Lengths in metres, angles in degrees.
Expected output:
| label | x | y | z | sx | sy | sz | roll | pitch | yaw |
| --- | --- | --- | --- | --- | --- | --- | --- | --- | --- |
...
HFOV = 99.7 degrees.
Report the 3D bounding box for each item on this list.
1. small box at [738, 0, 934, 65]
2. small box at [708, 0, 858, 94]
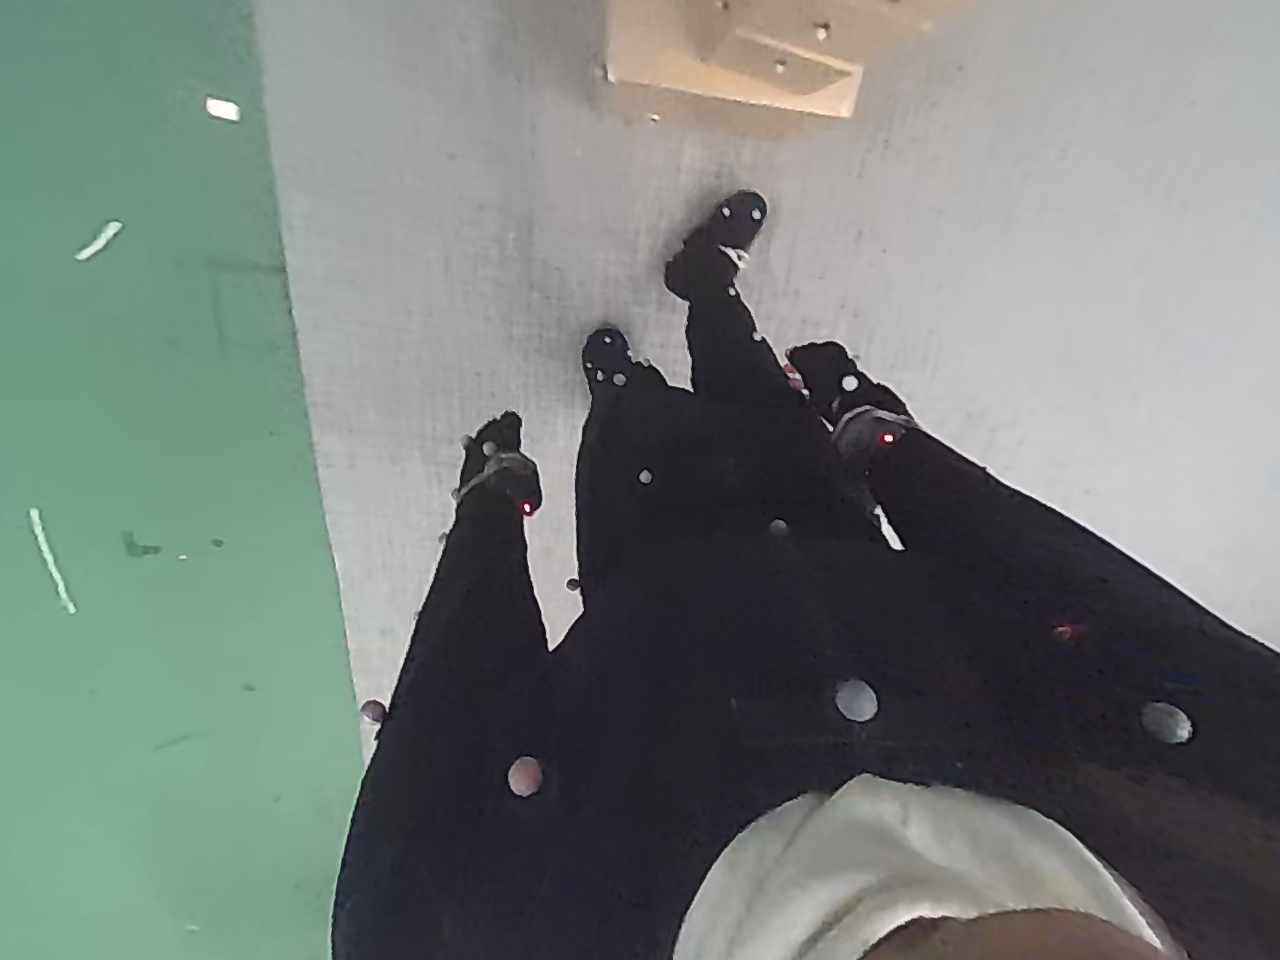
| label | x | y | z | sx | sy | sz | roll | pitch | yaw |
| --- | --- | --- | --- | --- | --- | --- | --- | --- | --- |
| small box | 0.227 | -0.582 | 0.588 | 0.179 | 0.176 | 0.168 | 8 | 115 | -10 |
| small box | 0.206 | -0.652 | 0.735 | 0.179 | 0.176 | 0.168 | 8 | 116 | -12 |
